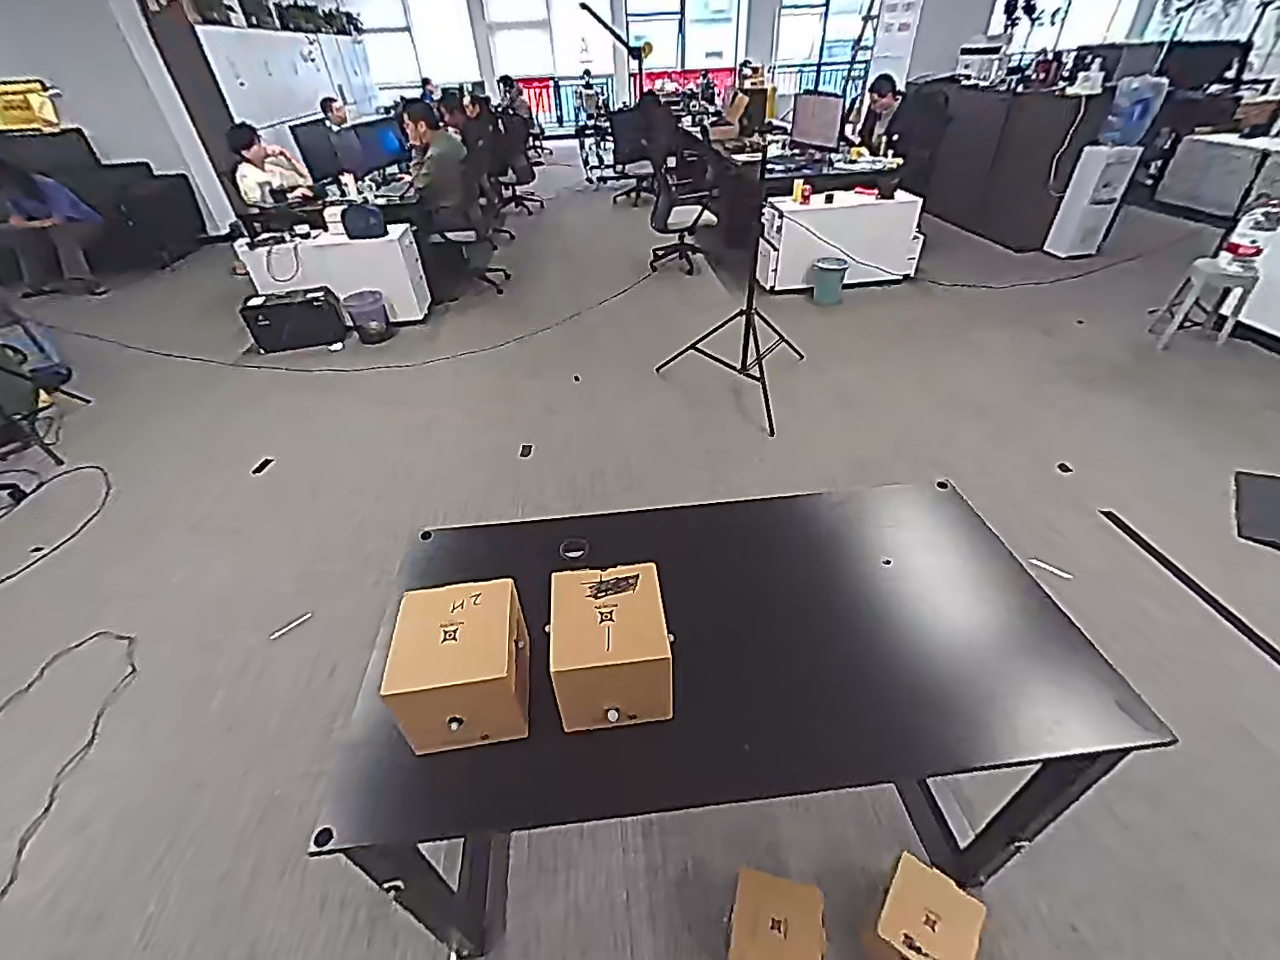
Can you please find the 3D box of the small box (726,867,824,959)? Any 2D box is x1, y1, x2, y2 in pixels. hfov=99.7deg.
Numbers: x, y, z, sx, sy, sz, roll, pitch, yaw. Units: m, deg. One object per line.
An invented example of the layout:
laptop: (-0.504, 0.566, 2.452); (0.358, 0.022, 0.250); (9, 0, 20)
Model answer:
small box: (0.278, 0.947, 1.122); (0.179, 0.176, 0.168); (7, 39, 14)

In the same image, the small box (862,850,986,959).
small box: (0.581, 0.928, 1.120); (0.168, 0.176, 0.179); (24, 46, 30)

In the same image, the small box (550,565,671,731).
small box: (-0.045, 0.257, 0.836); (0.168, 0.176, 0.179); (-6, 39, -3)
